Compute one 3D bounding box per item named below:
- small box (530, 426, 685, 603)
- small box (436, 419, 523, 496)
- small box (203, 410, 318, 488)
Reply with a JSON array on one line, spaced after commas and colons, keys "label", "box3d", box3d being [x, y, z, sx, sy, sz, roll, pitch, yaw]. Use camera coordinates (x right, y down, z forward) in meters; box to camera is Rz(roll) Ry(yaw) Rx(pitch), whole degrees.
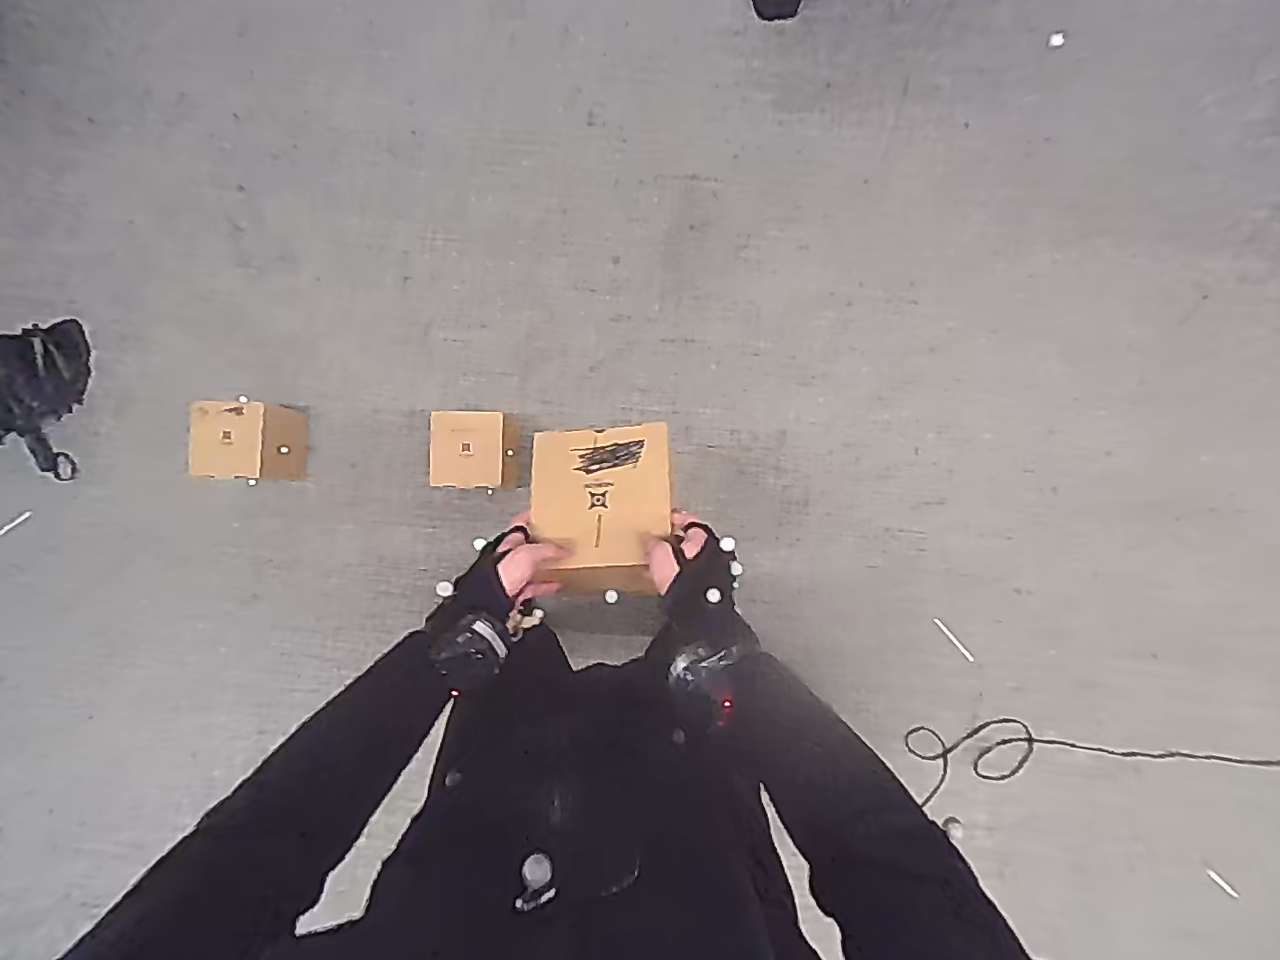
[{"label": "small box", "box3d": [-0.032, 0.051, 0.696, 0.168, 0.176, 0.179, -5, 66, 7]}, {"label": "small box", "box3d": [-0.383, -0.050, 1.315, 0.168, 0.176, 0.179, 0, 86, 0]}, {"label": "small box", "box3d": [-0.925, -0.070, 1.331, 0.168, 0.176, 0.179, 1, 87, 1]}]
